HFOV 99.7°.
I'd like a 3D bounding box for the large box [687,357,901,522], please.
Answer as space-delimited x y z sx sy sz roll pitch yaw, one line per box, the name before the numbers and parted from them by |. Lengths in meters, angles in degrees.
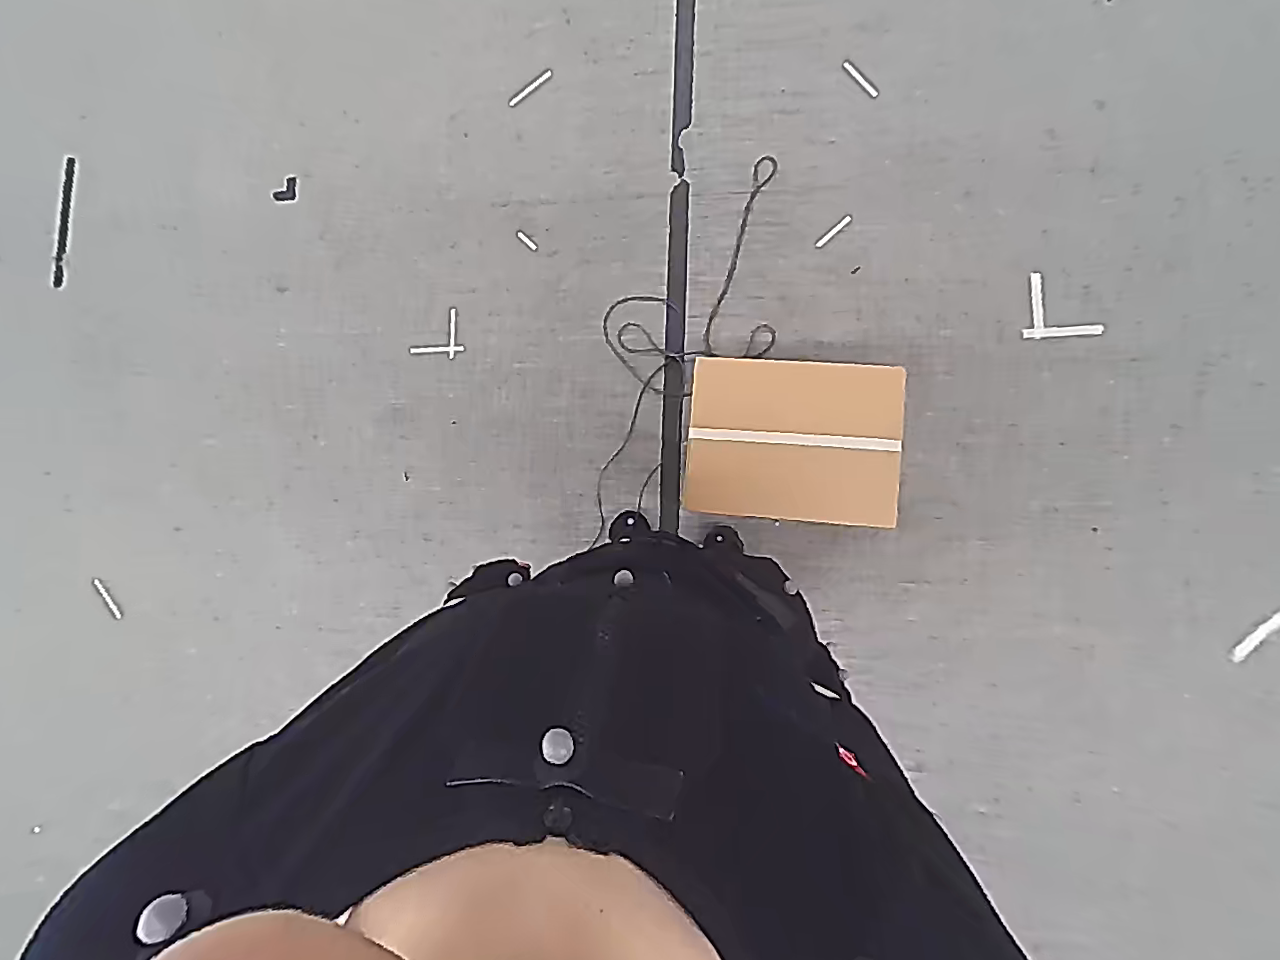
large box | 0.315 -0.075 1.209 0.408 0.320 0.320 5 88 7
